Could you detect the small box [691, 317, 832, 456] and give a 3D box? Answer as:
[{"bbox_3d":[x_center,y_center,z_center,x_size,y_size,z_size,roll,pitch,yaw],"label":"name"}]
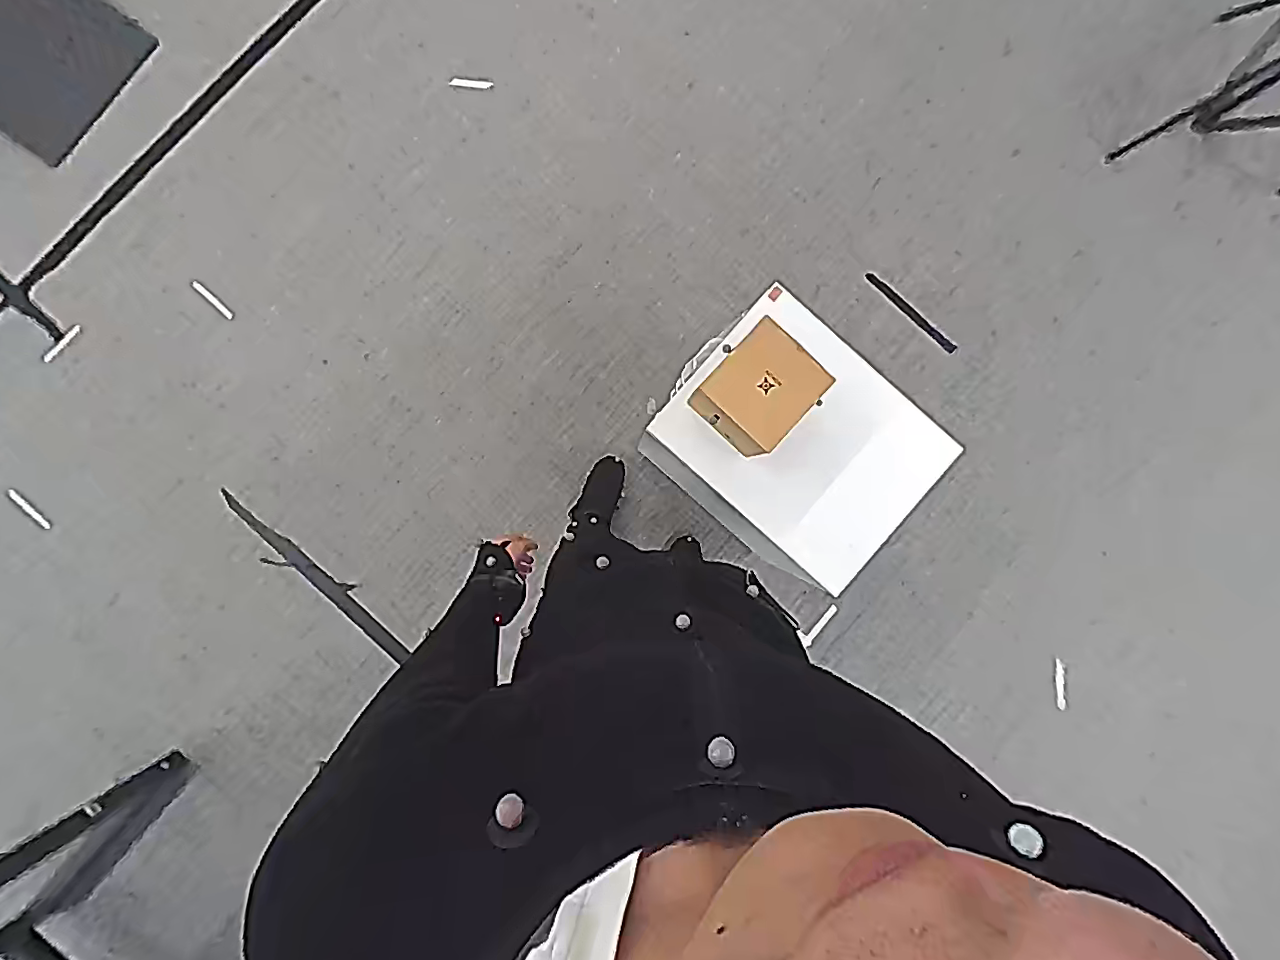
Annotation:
[{"bbox_3d":[0.210,-0.159,0.992,0.168,0.176,0.179,43,87,-2],"label":"small box"}]
